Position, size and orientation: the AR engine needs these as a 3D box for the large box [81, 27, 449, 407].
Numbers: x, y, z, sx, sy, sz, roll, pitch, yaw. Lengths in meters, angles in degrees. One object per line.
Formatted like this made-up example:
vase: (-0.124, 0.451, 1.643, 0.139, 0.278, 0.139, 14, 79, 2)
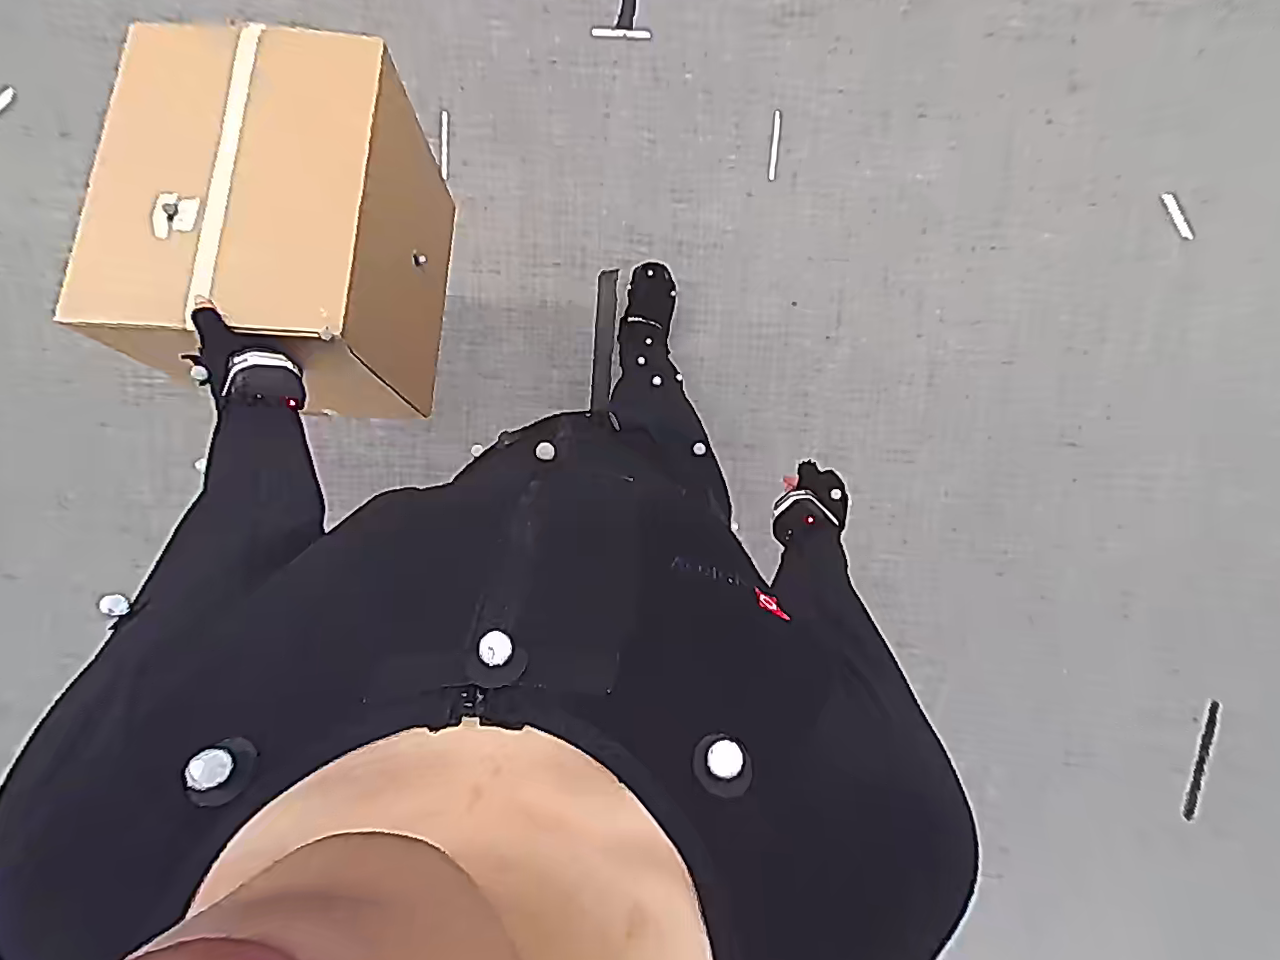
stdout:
large box: (-0.494, -0.349, 0.805, 0.320, 0.320, 0.408, 3, 81, -1)
